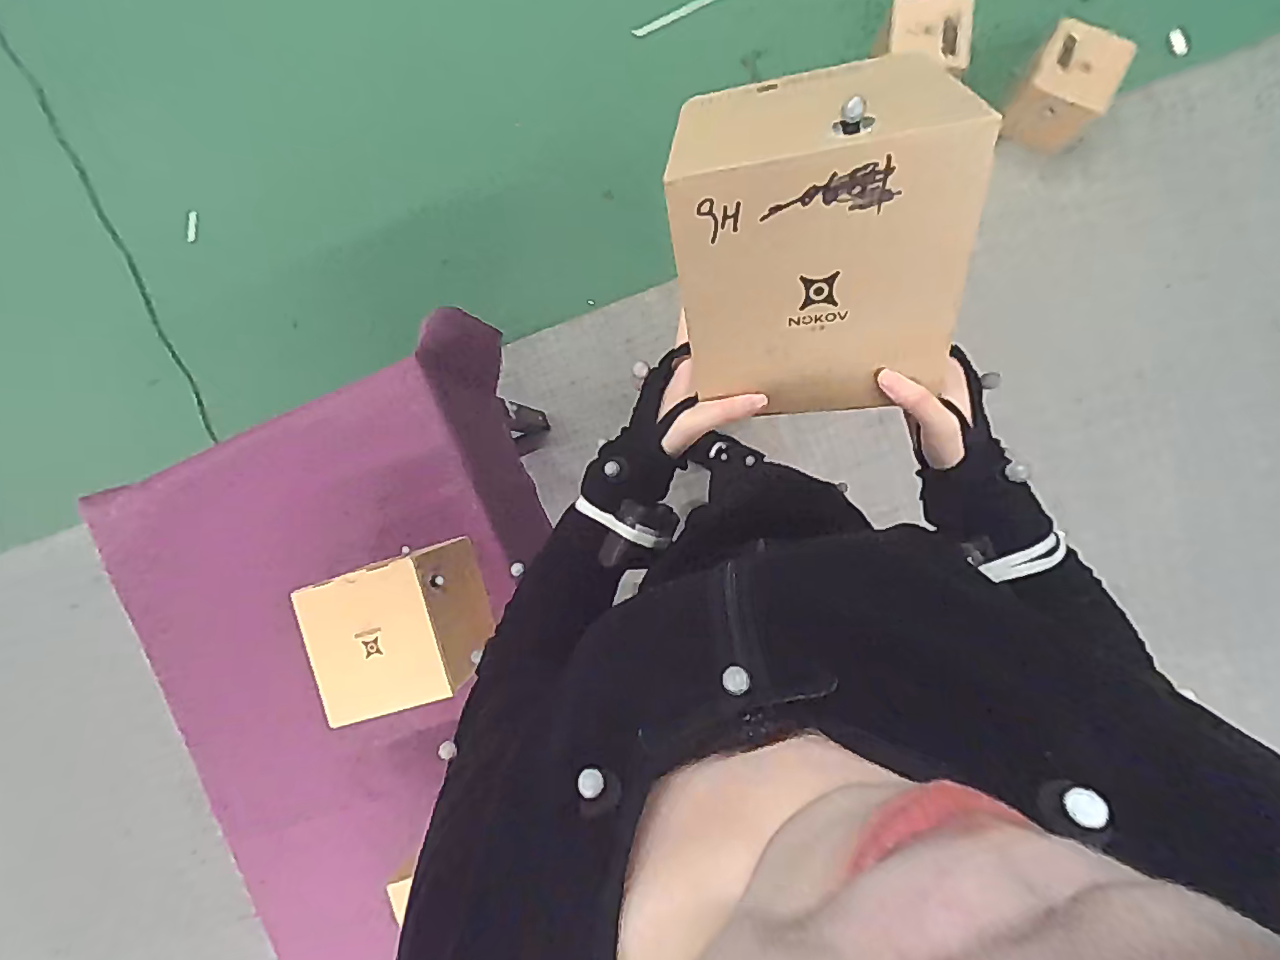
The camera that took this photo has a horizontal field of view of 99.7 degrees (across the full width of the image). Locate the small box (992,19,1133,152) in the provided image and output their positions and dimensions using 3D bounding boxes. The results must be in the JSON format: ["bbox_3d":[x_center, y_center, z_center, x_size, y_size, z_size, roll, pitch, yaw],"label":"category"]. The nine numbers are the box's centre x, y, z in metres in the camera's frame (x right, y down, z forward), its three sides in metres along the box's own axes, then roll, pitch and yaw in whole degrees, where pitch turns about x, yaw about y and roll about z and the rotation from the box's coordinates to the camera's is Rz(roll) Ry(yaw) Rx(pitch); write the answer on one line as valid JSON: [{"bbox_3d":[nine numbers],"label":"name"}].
[{"bbox_3d":[0.995,-0.931,1.293,0.179,0.176,0.168,25,93,3],"label":"small box"}]

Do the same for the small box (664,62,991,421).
[{"bbox_3d":[0.118,-0.165,0.391,0.168,0.176,0.179,-2,136,13],"label":"small box"}]

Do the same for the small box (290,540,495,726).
[{"bbox_3d":[-0.317,0.194,0.729,0.168,0.176,0.179,-17,90,6],"label":"small box"}]
